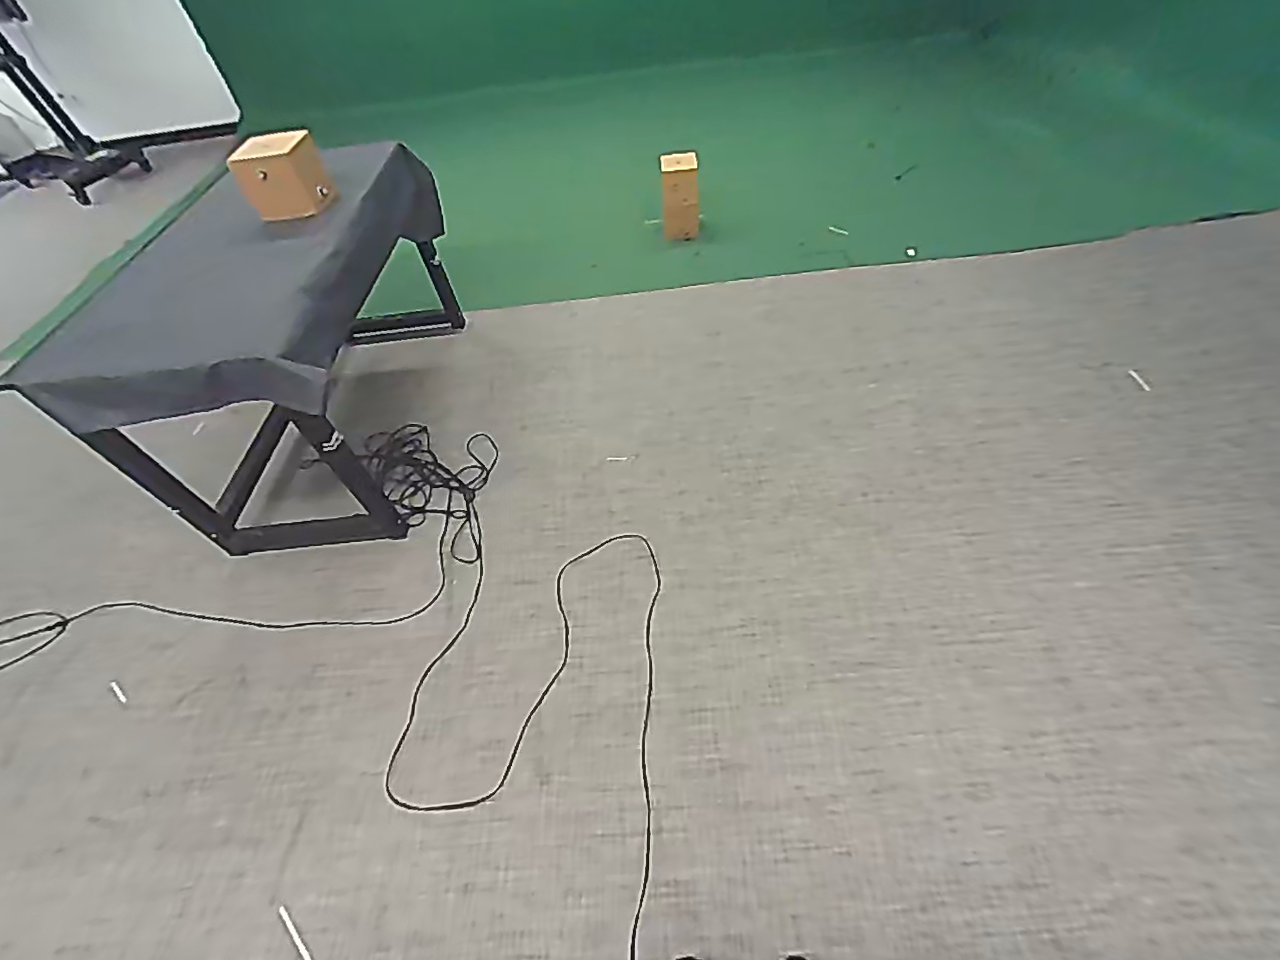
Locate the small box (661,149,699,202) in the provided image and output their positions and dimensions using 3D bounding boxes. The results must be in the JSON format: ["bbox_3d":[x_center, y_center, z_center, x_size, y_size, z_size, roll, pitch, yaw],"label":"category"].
[{"bbox_3d":[0.191,-1.440,2.569,0.168,0.176,0.179,-4,51,4],"label":"small box"}]

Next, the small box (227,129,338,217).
[{"bbox_3d":[-1.010,-0.872,1.546,0.179,0.176,0.168,-5,52,3],"label":"small box"}]
